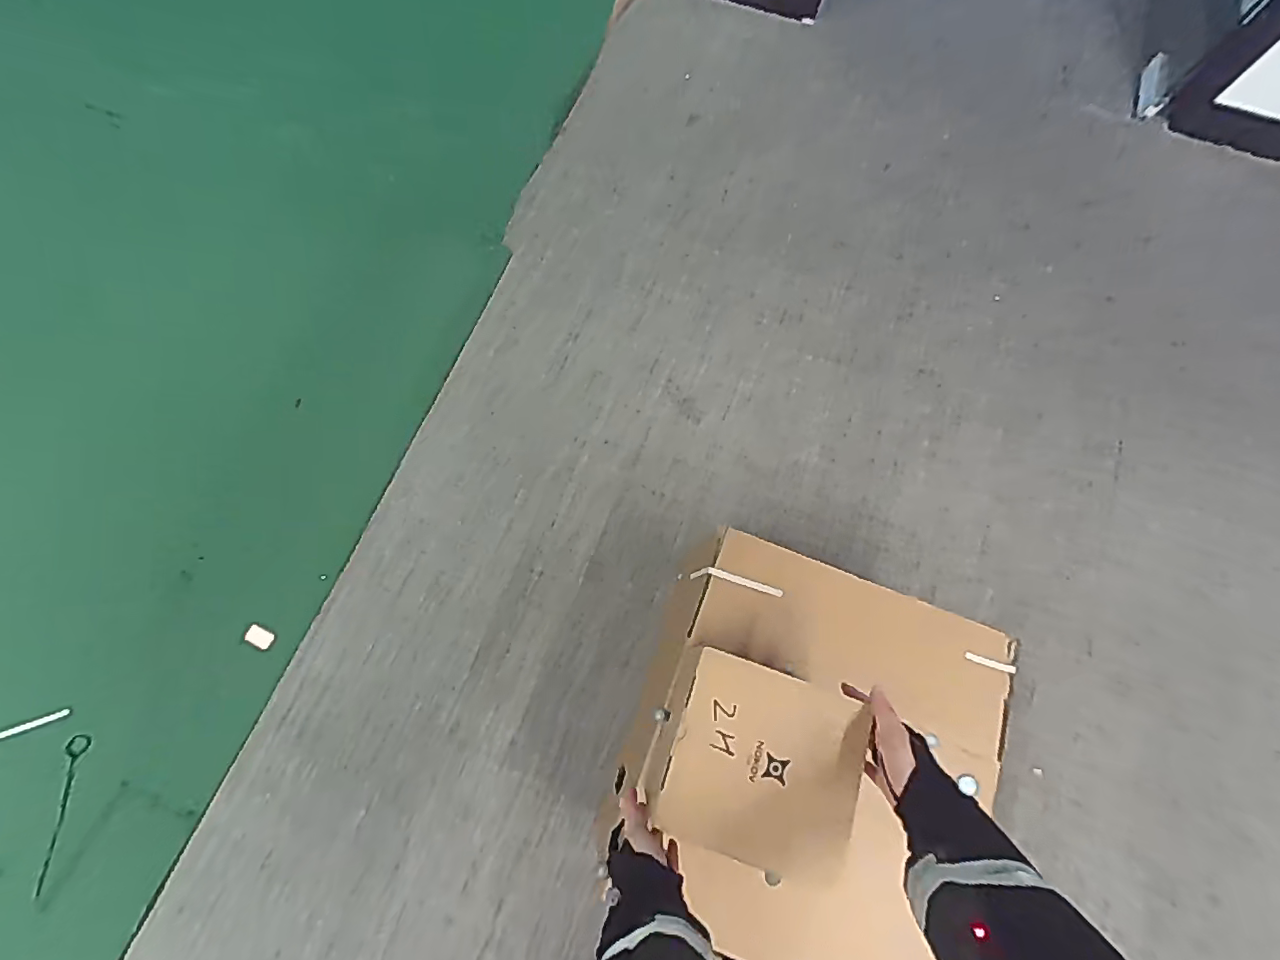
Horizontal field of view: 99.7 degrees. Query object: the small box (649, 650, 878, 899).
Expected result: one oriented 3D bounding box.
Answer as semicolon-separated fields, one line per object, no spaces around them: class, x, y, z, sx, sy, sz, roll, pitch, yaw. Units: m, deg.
small box;0.118;0.289;0.573;0.179;0.176;0.168;19;72;5
